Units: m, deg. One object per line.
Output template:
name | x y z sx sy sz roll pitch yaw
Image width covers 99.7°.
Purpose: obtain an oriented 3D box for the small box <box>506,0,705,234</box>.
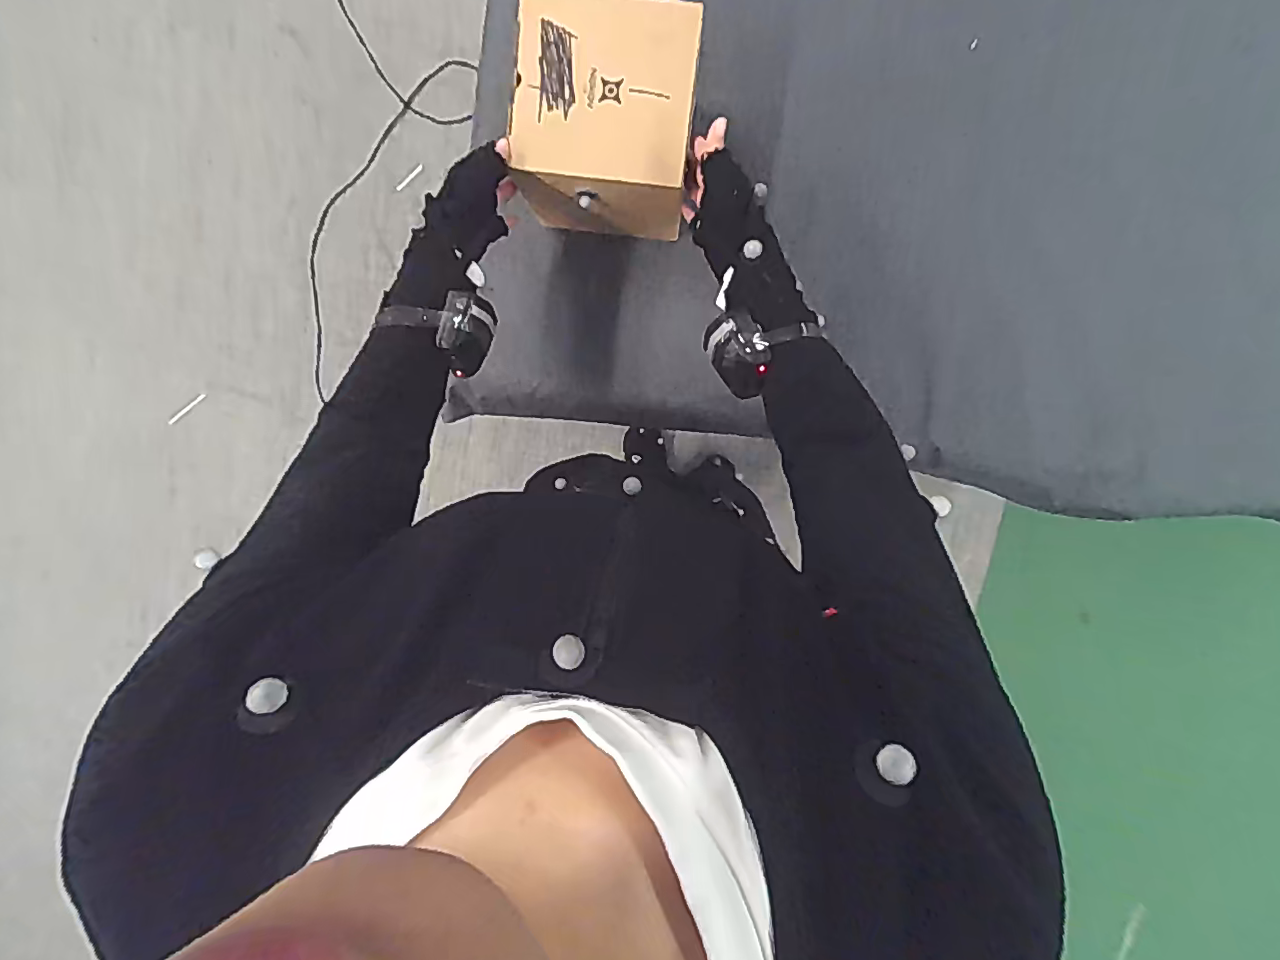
small box | -0.032 -0.387 0.593 0.179 0.176 0.168 7 98 1
